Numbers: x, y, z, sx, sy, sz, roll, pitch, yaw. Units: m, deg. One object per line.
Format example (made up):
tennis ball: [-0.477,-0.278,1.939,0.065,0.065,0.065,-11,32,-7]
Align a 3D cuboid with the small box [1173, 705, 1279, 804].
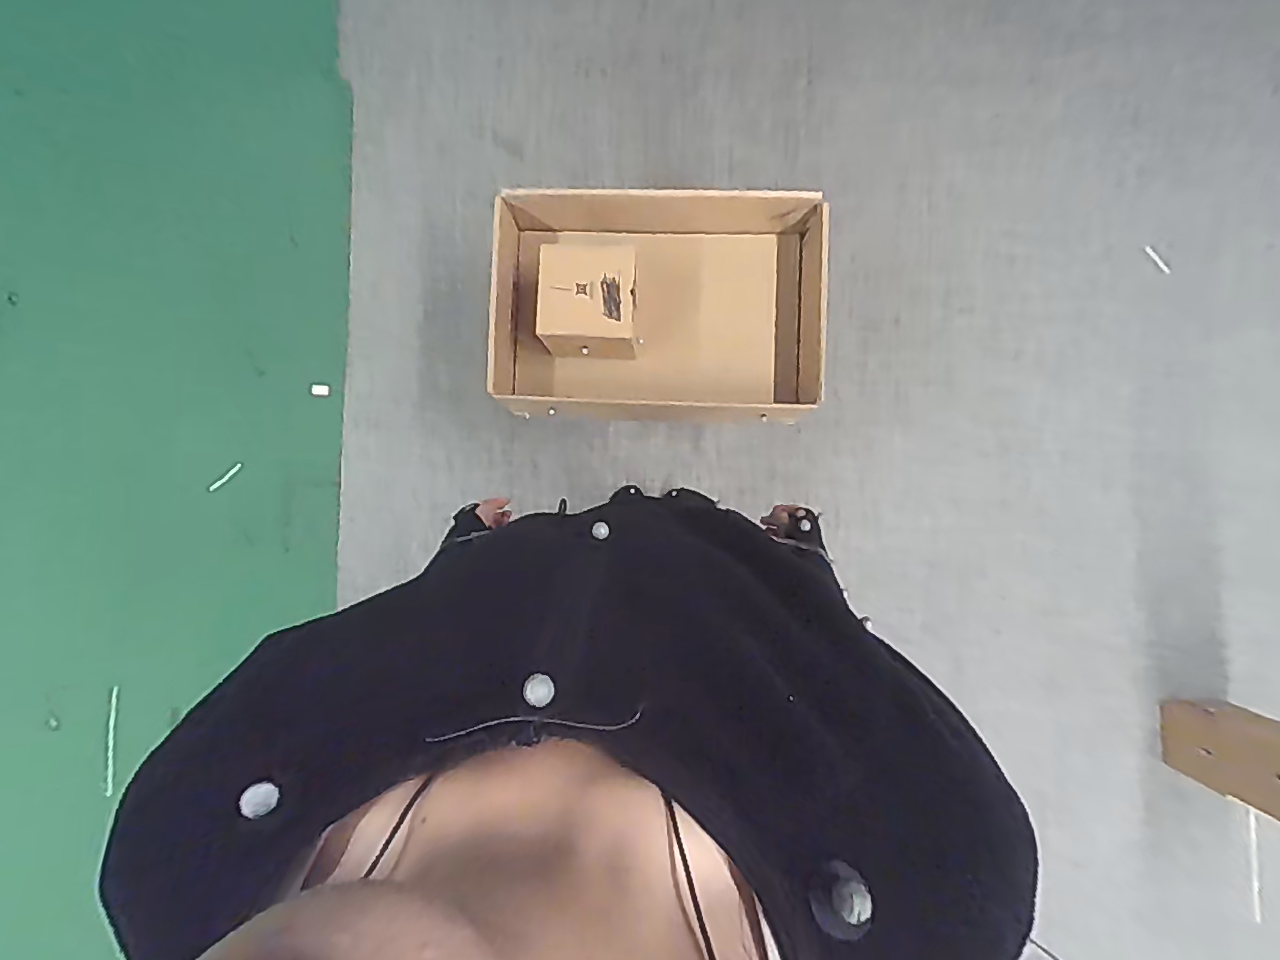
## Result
small box: [1.495,0.680,1.355,0.168,0.176,0.179,0,88,3]

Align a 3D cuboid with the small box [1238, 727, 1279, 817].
small box: [1.488,0.663,1.192,0.168,0.176,0.179,0,88,4]

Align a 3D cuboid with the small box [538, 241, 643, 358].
small box: [-0.087,-0.336,1.035,0.179,0.176,0.168,3,89,3]
